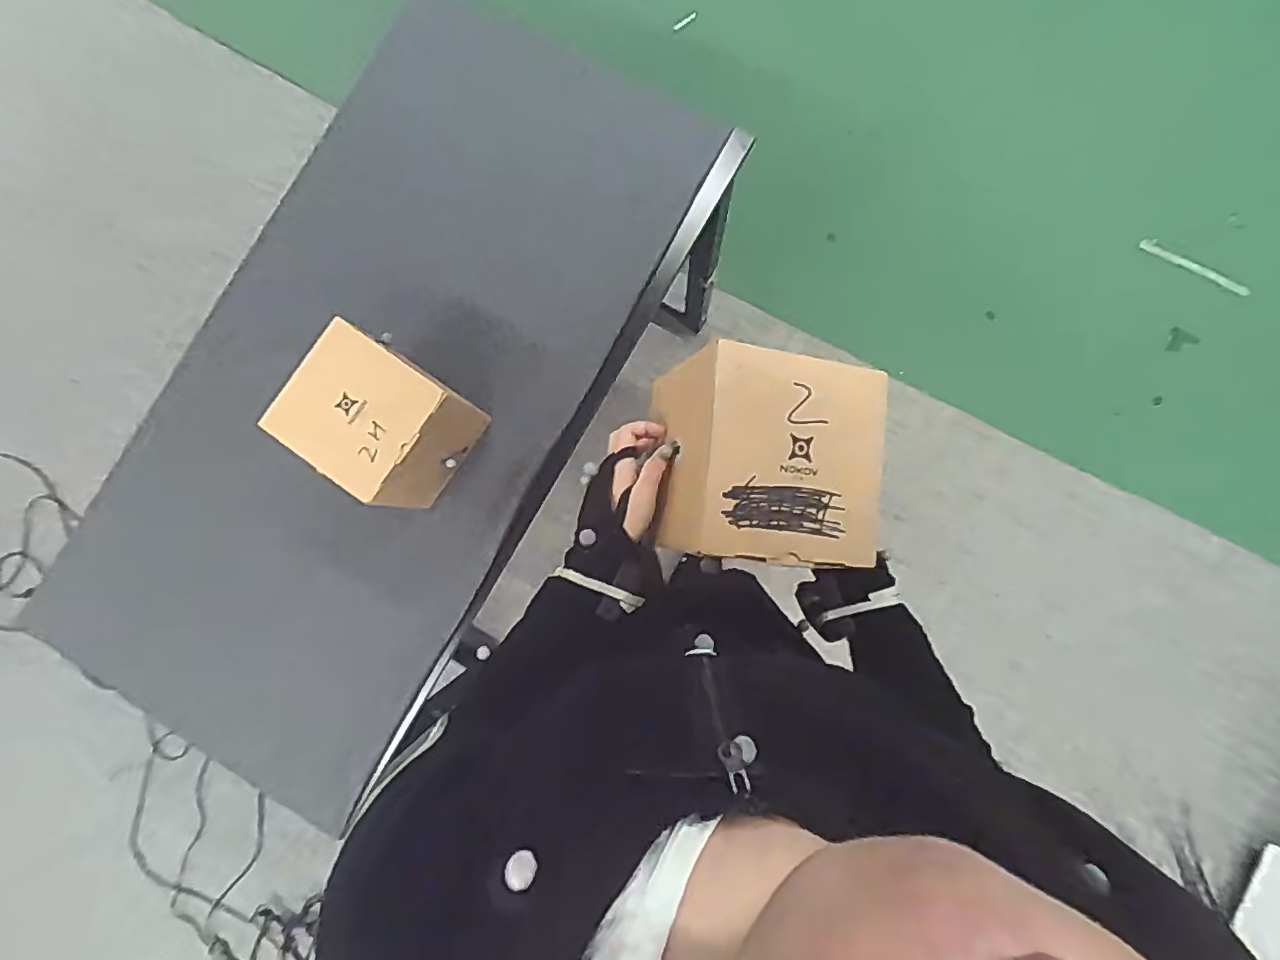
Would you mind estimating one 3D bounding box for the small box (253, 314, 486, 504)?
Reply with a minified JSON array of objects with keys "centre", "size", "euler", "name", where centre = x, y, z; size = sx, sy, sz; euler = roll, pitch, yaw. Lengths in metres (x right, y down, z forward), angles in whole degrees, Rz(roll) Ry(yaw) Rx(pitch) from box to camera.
[{"centre":[-0.340,-0.078,0.714],"size":[0.179,0.176,0.168],"euler":[34,88,6],"name":"small box"}]
